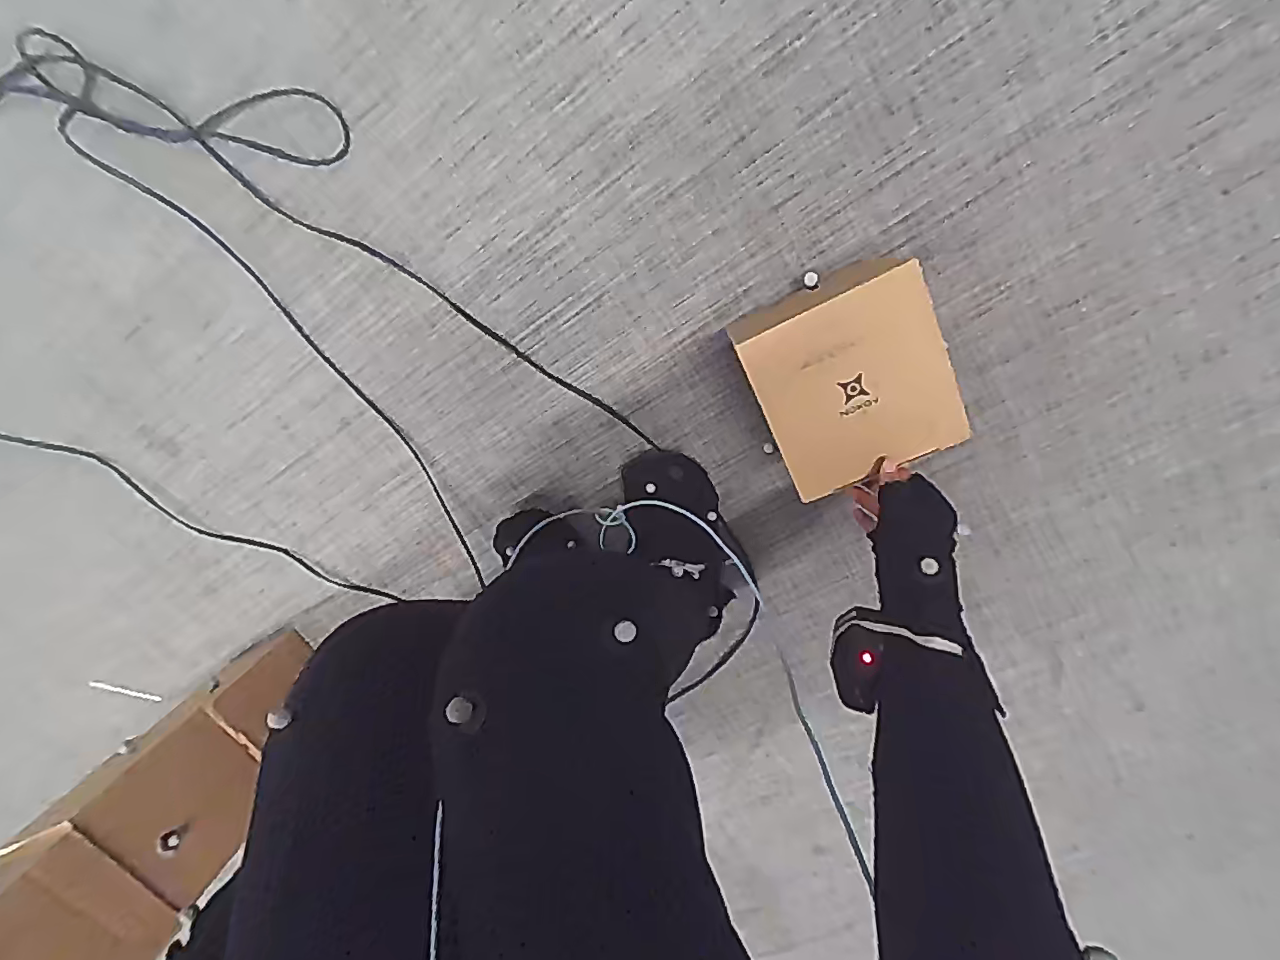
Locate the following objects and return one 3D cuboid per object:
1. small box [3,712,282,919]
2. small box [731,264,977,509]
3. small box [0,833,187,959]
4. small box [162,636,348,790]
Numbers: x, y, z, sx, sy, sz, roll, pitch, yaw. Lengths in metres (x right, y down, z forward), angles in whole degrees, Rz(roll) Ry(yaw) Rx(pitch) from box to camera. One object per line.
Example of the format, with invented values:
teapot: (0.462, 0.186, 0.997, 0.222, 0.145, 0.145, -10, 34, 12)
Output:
small box: (-0.628, 0.444, 0.708, 0.168, 0.176, 0.179, -27, 106, 17)
small box: (0.203, -0.103, 0.552, 0.168, 0.176, 0.179, -24, 108, 15)
small box: (-0.641, 0.513, 0.562, 0.168, 0.176, 0.179, -27, 106, 17)
small box: (-0.603, 0.379, 0.857, 0.179, 0.176, 0.168, -27, 106, 17)
